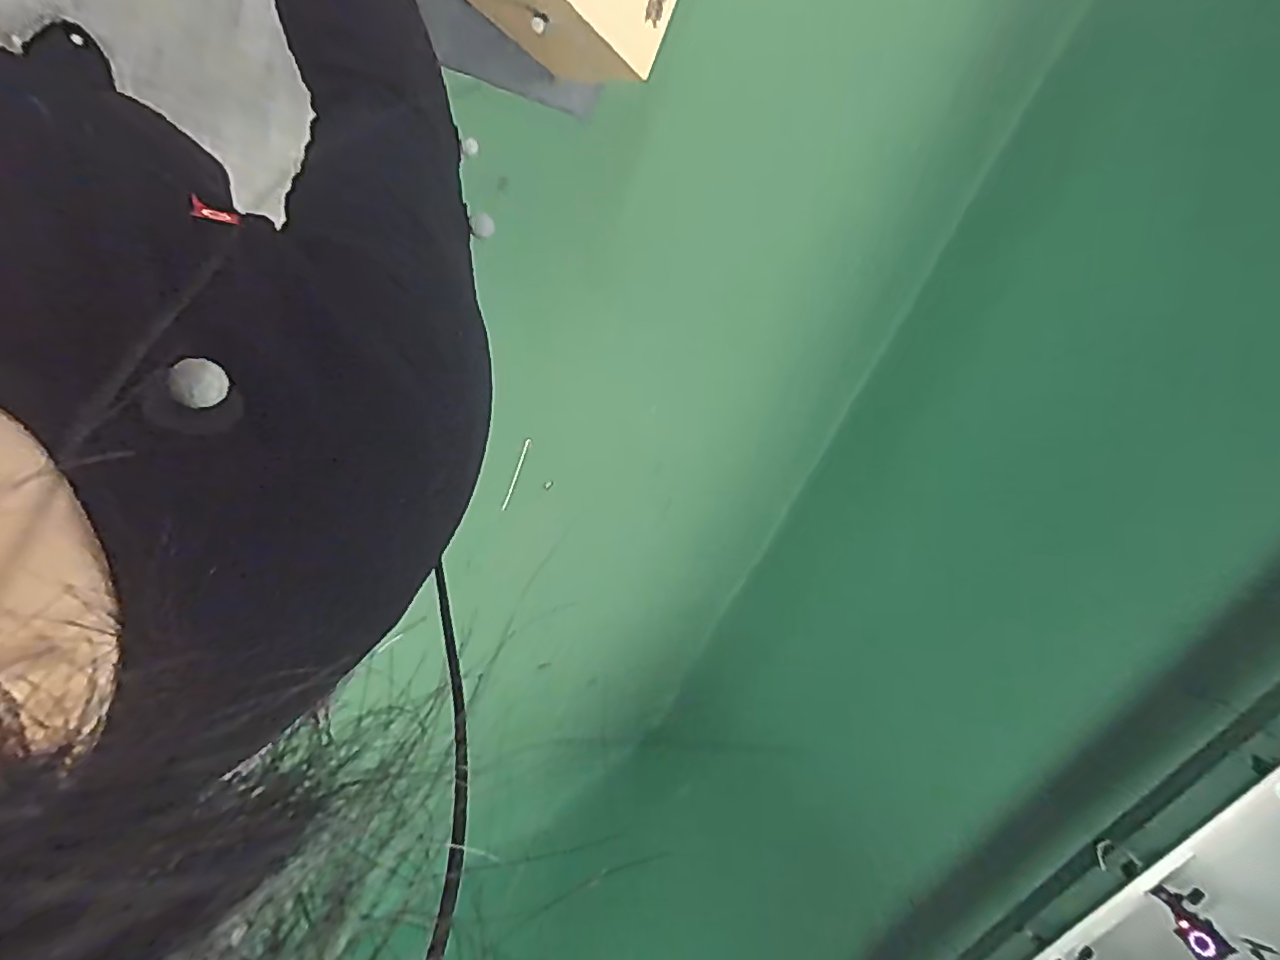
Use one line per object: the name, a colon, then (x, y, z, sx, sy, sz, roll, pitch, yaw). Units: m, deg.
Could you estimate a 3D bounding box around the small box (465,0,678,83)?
small box: (-0.071, -0.546, 0.557, 0.179, 0.176, 0.168, 6, 113, -49)
